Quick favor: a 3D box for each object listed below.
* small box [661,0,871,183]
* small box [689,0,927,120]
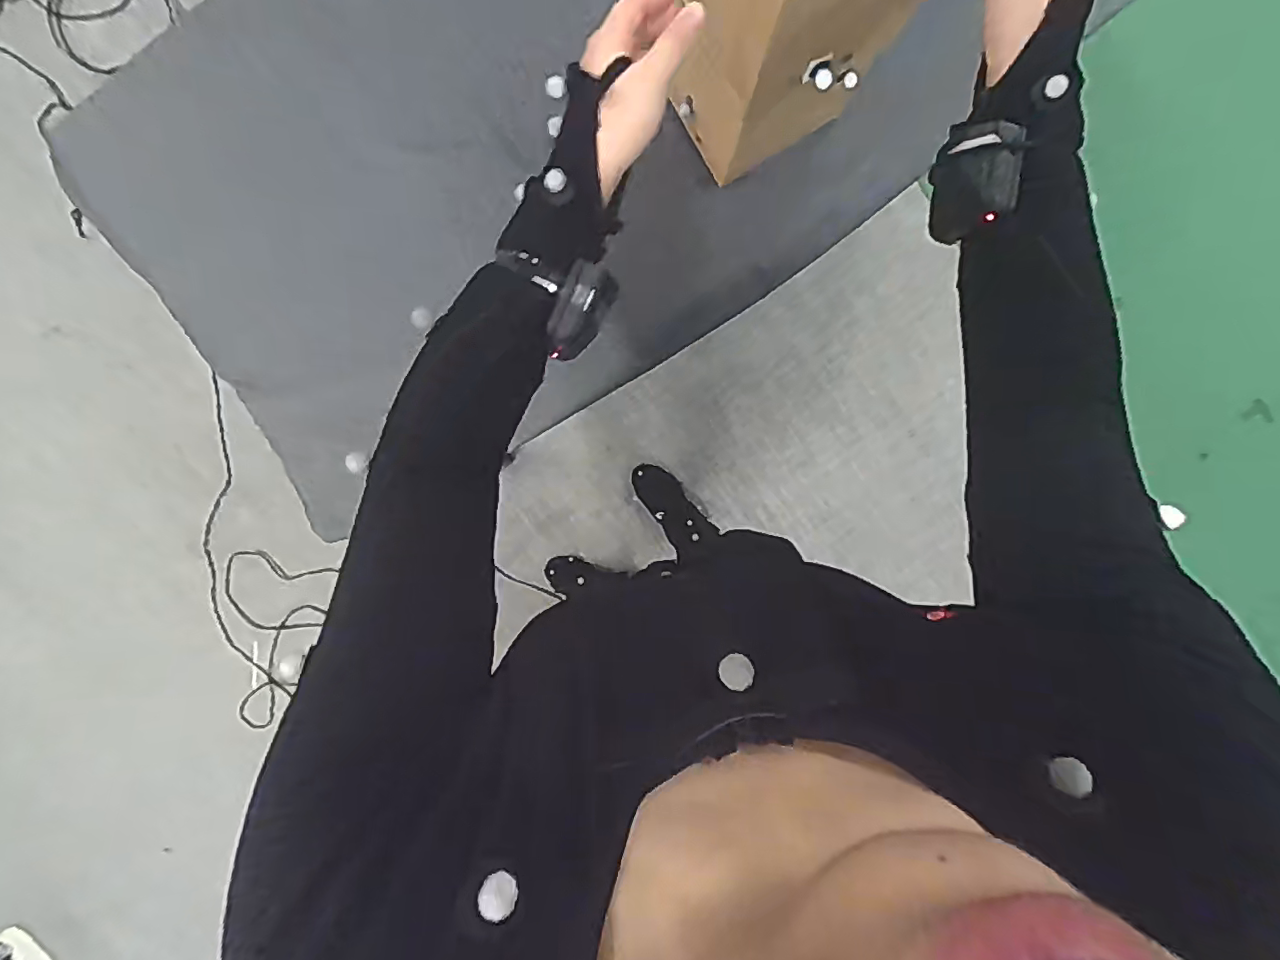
[{"bbox_3d":[0.135,-0.471,0.590,0.179,0.176,0.168,-31,95,3],"label":"small box"},{"bbox_3d":[0.134,-0.443,0.430,0.168,0.176,0.179,-26,97,4],"label":"small box"}]
